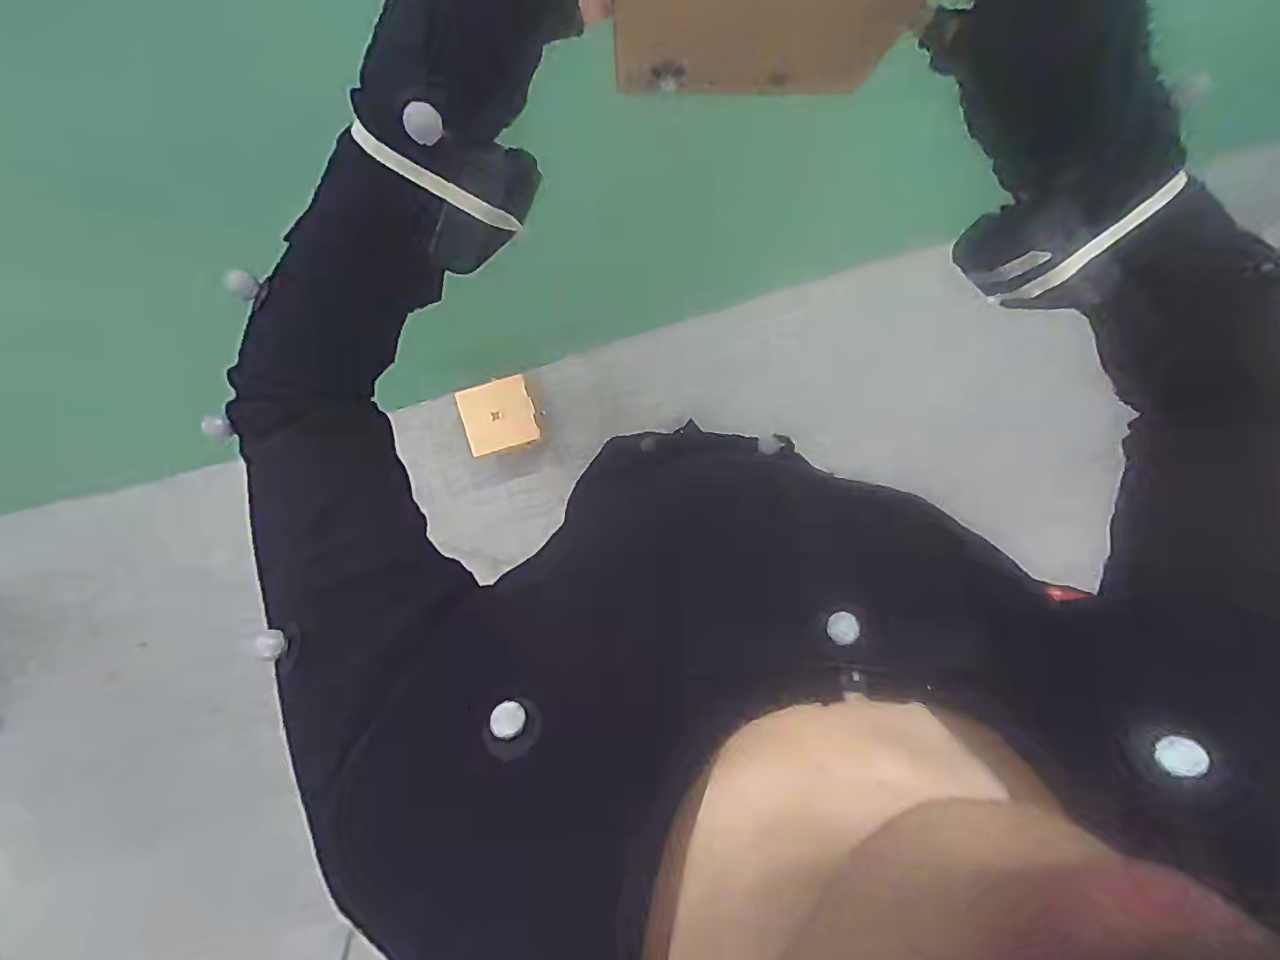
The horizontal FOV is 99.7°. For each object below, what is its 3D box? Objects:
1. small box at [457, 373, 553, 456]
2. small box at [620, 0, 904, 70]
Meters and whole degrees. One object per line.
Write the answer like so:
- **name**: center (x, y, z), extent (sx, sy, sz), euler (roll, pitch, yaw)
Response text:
- **small box**: center (-0.340, -0.162, 1.391), extent (0.179, 0.176, 0.168), euler (-17, 93, 1)
- **small box**: center (0.071, -0.343, 0.269), extent (0.168, 0.176, 0.179), euler (-1, 97, -1)
